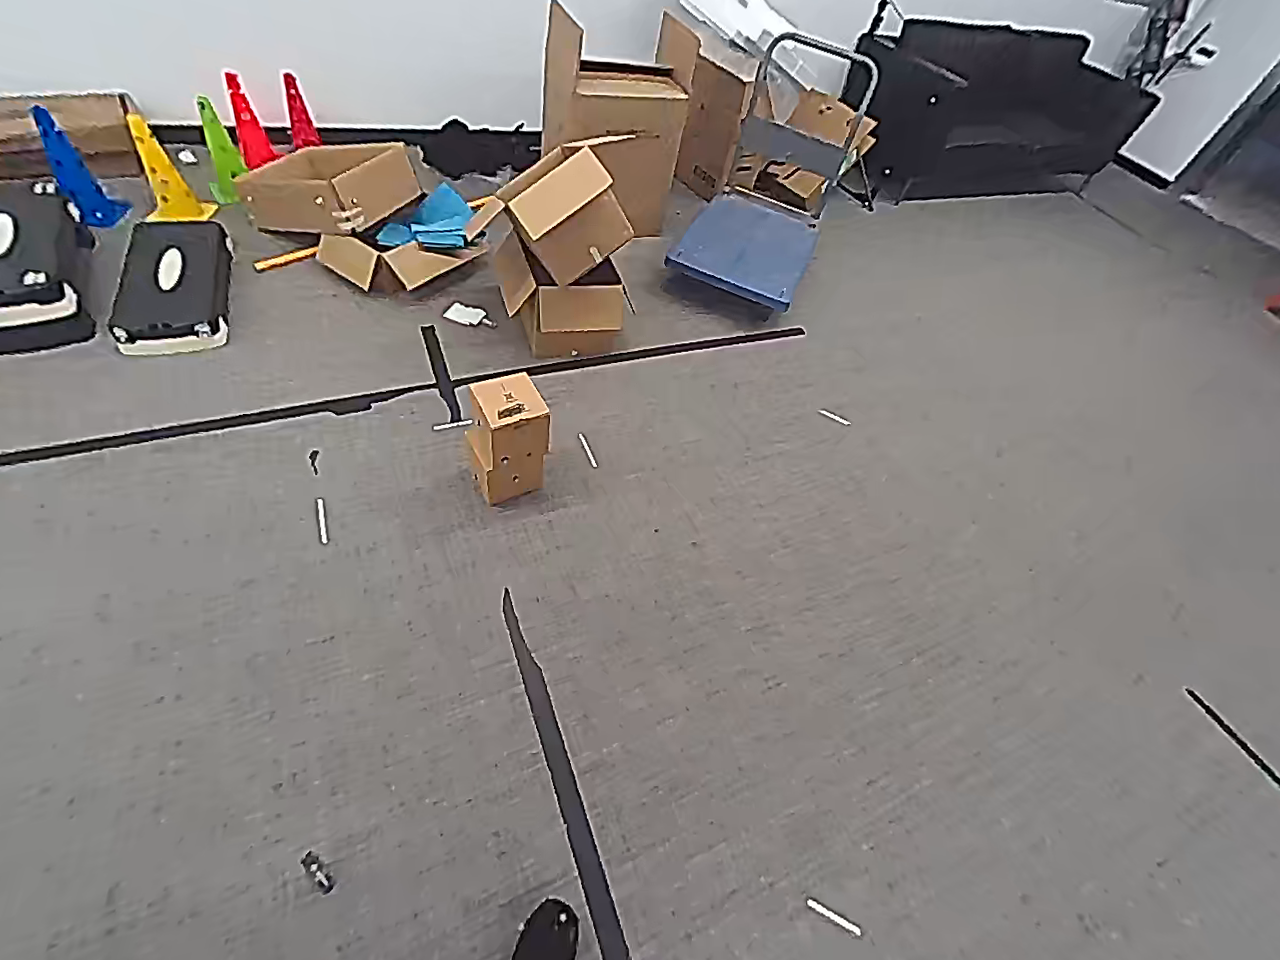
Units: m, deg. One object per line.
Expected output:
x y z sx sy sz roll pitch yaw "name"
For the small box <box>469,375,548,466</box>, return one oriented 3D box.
-0.364 -0.159 1.505 0.168 0.176 0.179 -19 58 -26 "small box"
